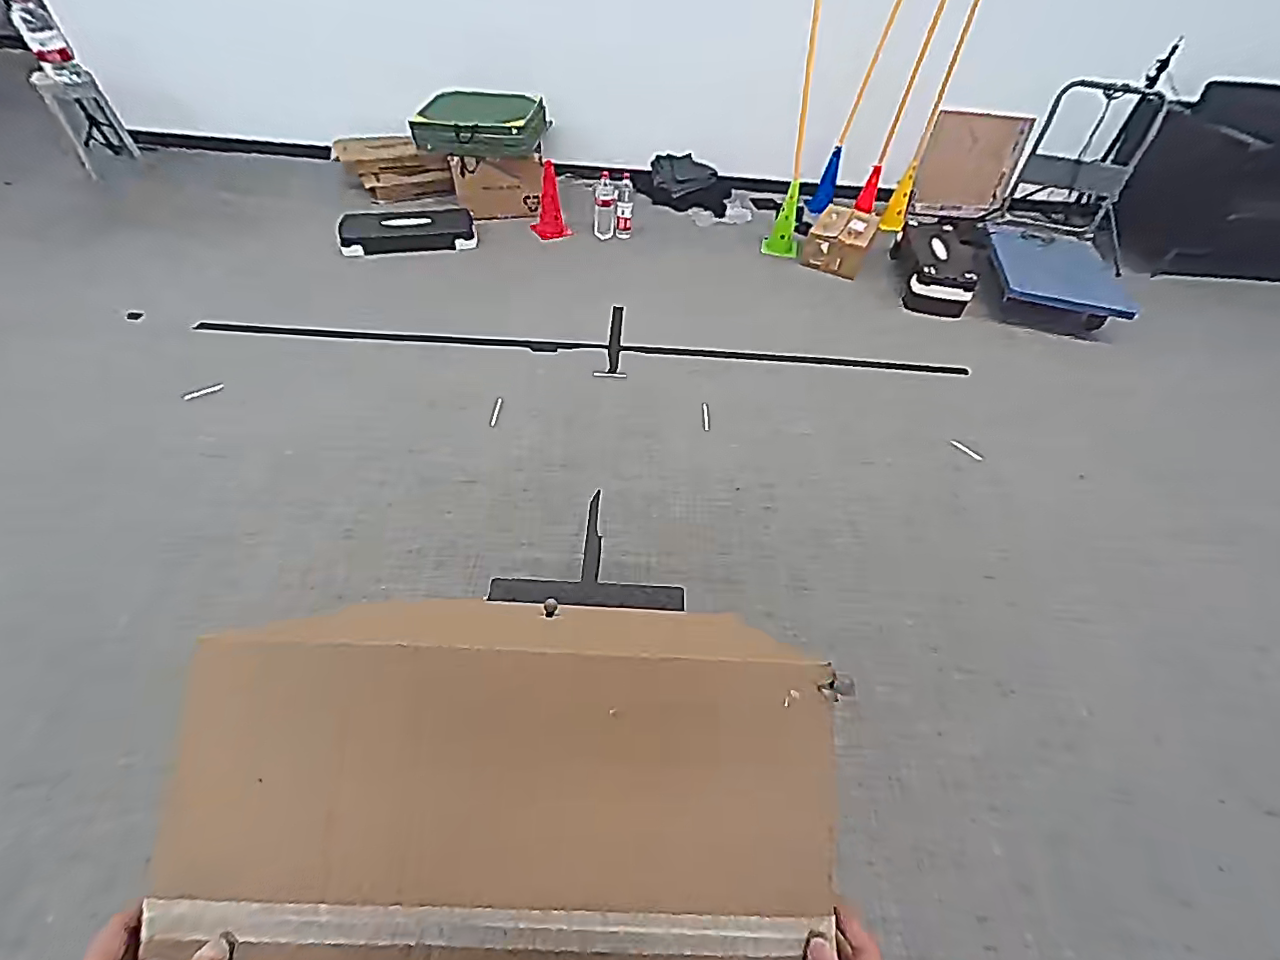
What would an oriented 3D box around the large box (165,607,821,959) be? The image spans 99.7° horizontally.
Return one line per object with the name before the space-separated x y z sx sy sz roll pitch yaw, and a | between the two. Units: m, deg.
large box | -0.092 0.284 0.482 0.408 0.320 0.320 3 83 -3
